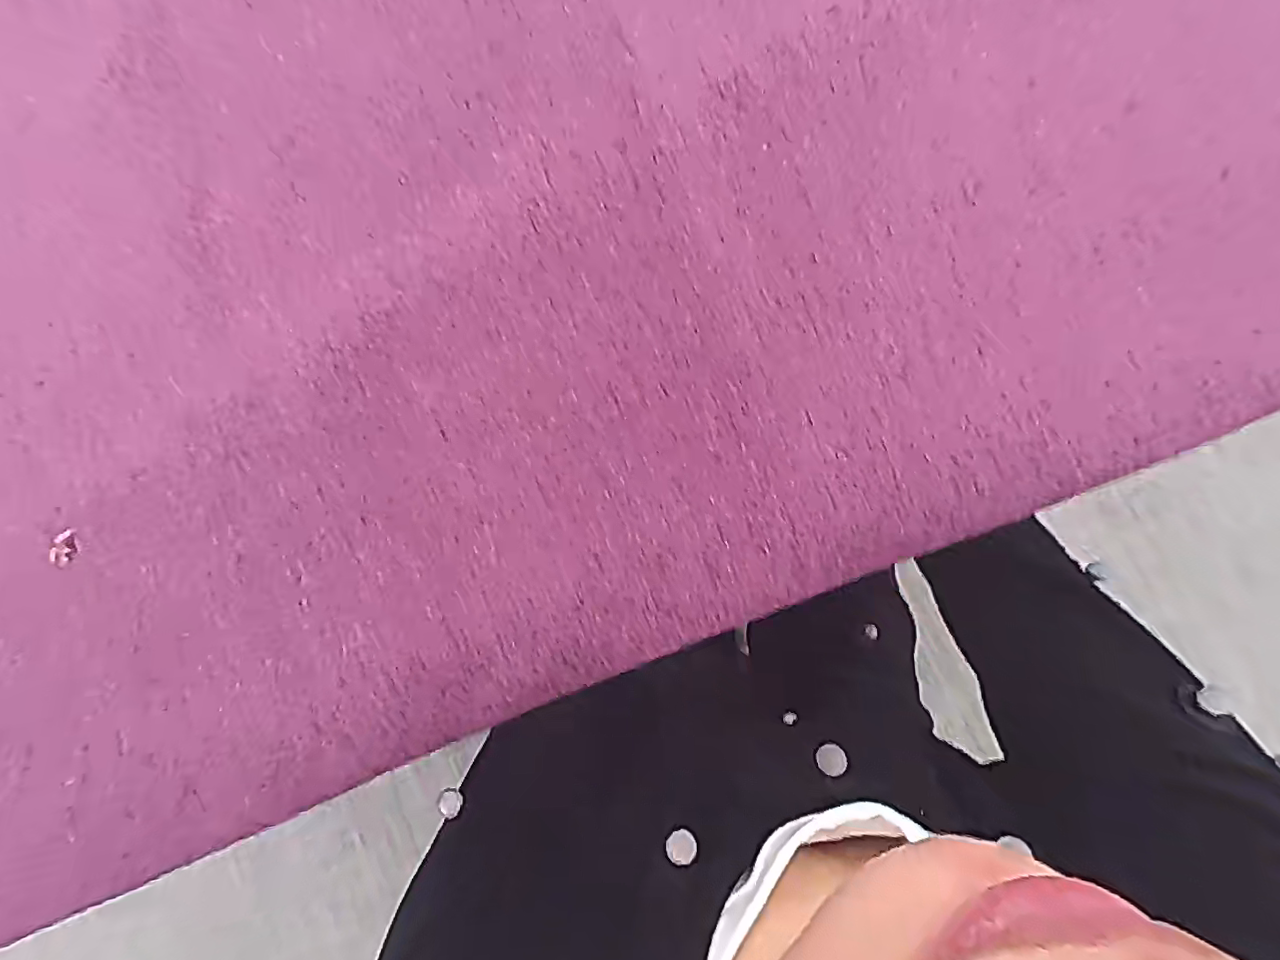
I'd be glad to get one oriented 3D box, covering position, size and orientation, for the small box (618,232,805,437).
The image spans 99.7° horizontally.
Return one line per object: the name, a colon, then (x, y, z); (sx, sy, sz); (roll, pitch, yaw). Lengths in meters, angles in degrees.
small box: (0.094, -0.173, 0.703); (0.168, 0.176, 0.179); (-27, 82, 10)
